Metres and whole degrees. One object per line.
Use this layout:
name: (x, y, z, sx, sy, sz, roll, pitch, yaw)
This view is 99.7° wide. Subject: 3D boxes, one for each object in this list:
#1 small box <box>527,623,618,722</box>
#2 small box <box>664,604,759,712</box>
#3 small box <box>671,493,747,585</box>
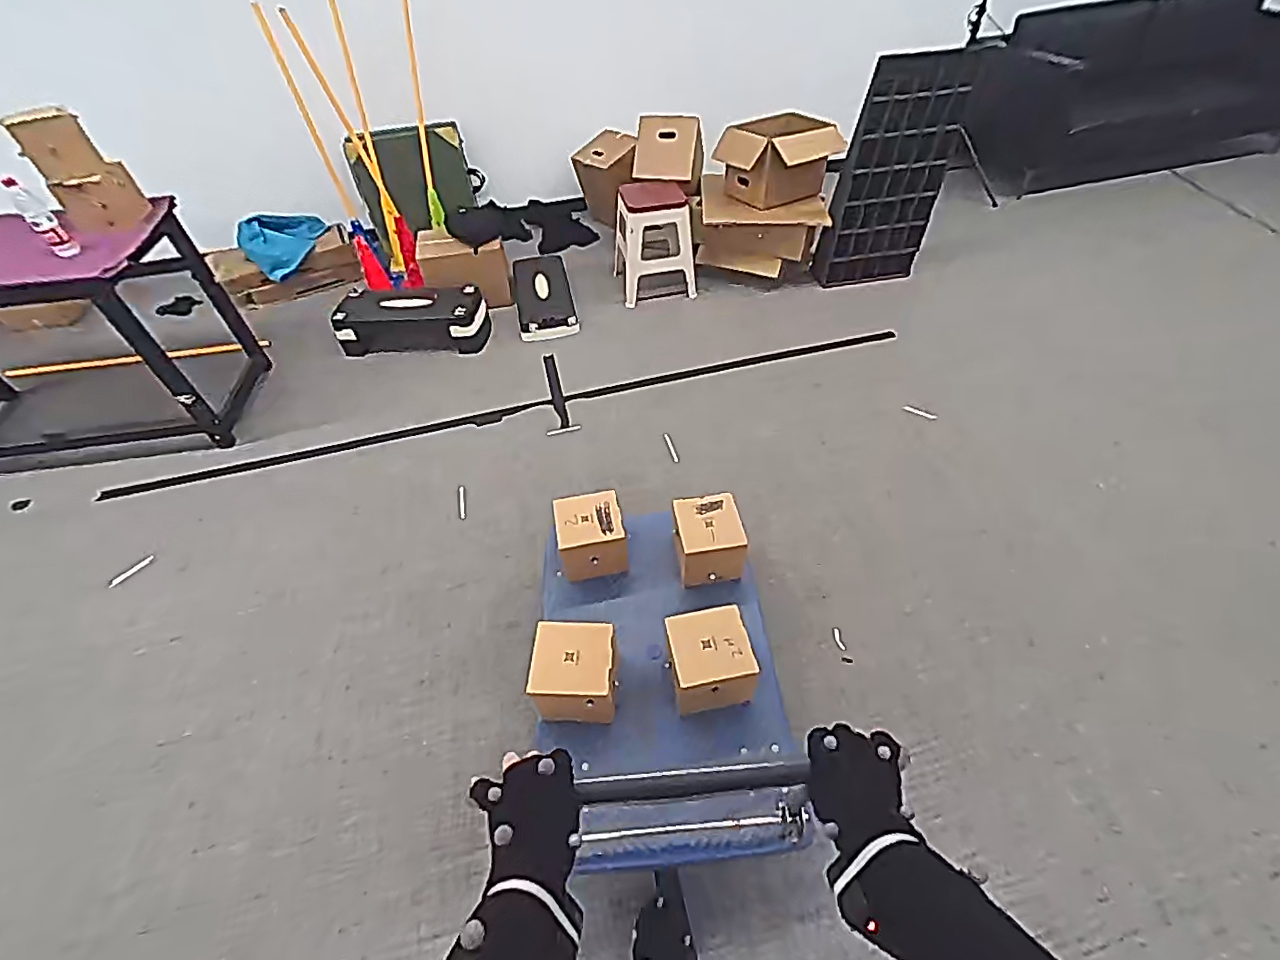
small box: (-0.146, 0.442, 1.235, 0.179, 0.176, 0.168, 0, 48, 1)
small box: (0.158, 0.413, 1.244, 0.179, 0.176, 0.168, -10, 49, -6)
small box: (0.179, 0.161, 1.467, 0.168, 0.176, 0.179, -8, 50, -4)
